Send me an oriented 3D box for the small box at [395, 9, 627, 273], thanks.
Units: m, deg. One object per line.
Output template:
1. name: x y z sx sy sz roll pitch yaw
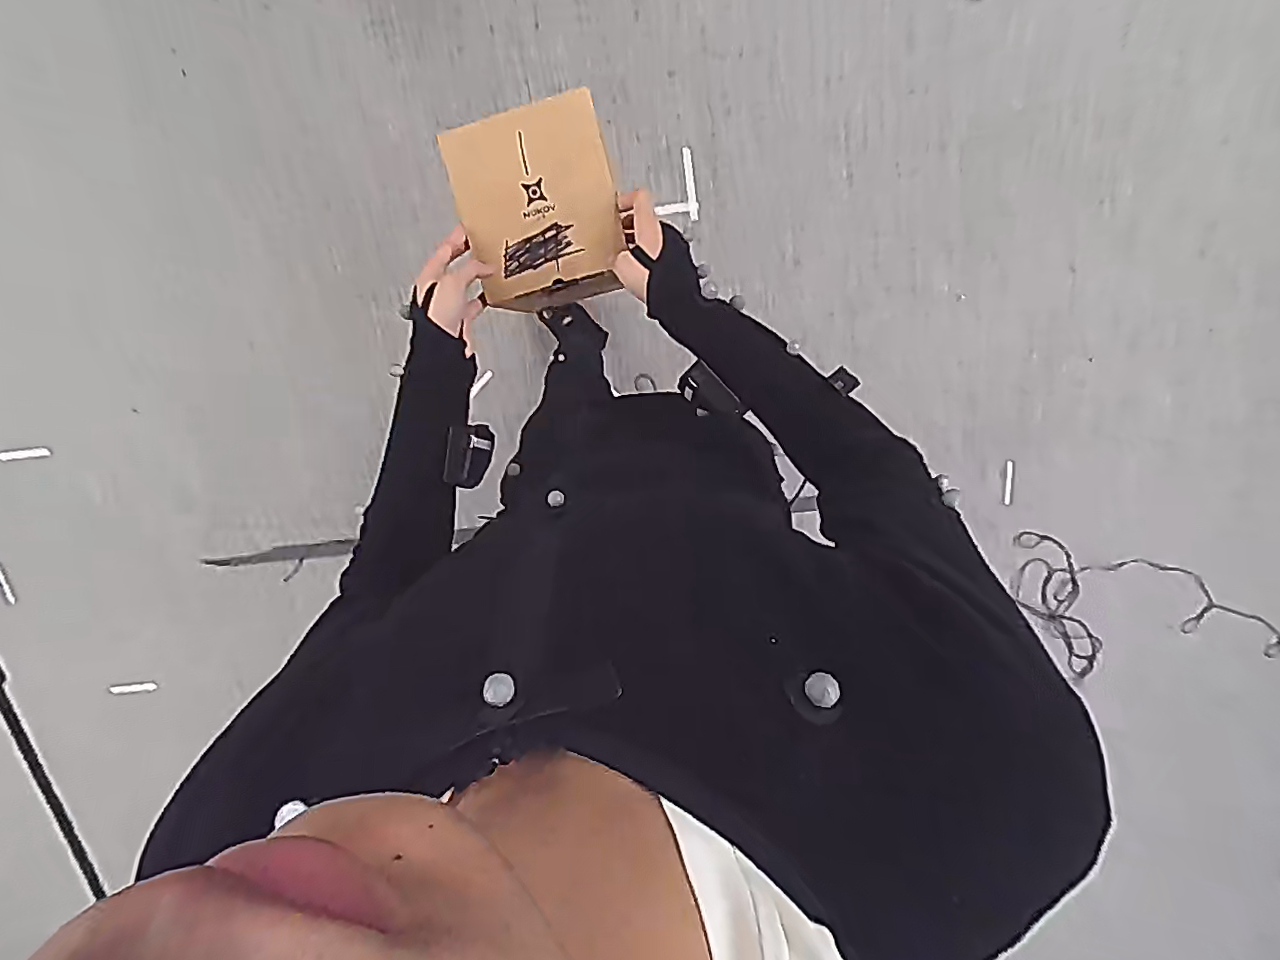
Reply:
1. small box: -0.116 -0.327 0.570 0.168 0.176 0.179 -13 103 7
